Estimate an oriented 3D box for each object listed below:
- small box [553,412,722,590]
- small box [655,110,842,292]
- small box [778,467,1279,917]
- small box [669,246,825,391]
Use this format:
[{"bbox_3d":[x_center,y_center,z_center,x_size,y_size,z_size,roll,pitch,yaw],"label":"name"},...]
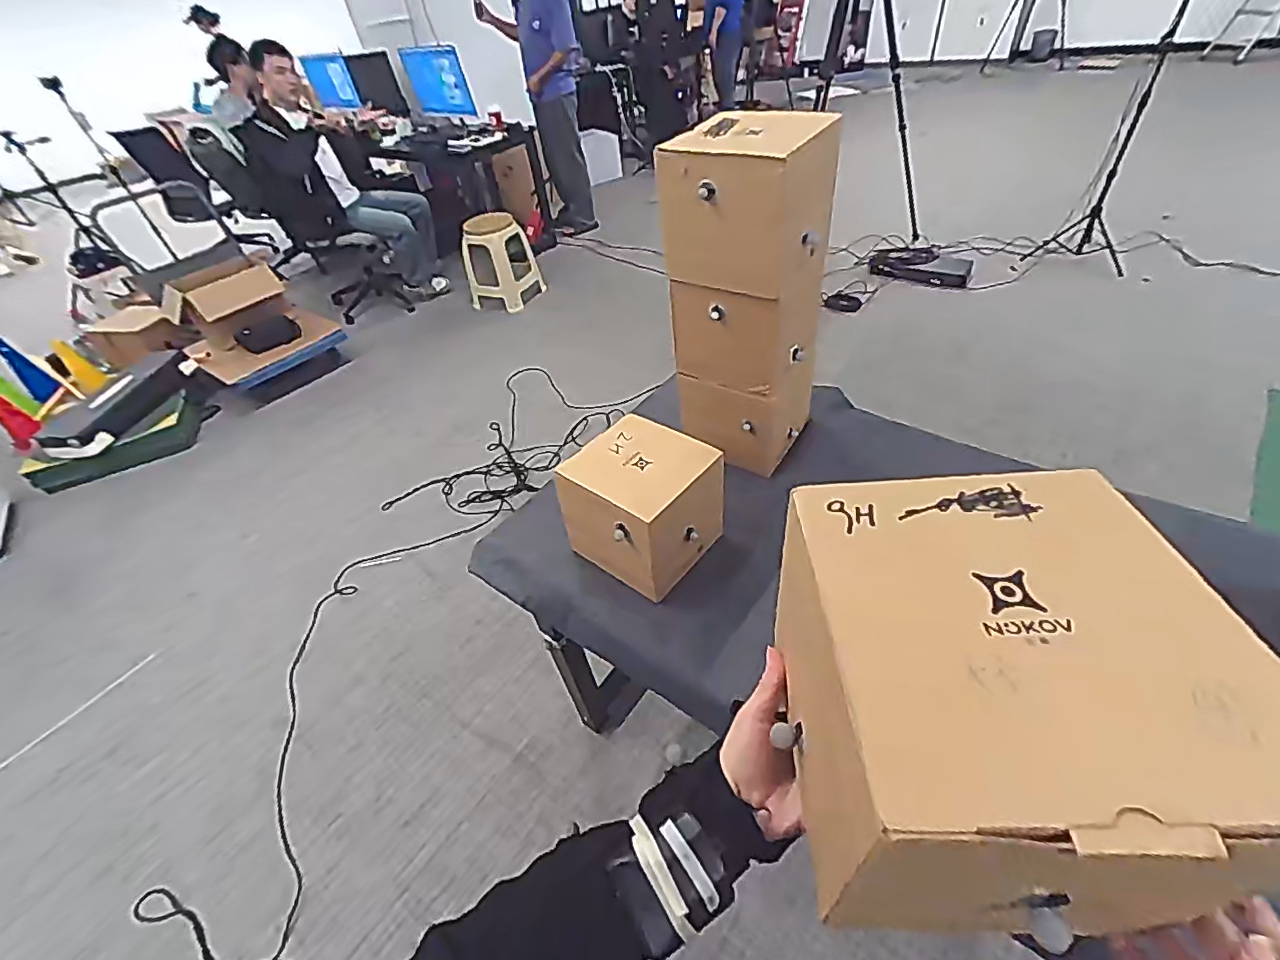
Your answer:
[{"bbox_3d":[0.004,0.033,0.791,0.179,0.176,0.168,27,51,31],"label":"small box"},{"bbox_3d":[0.141,-0.369,0.717,0.179,0.176,0.168,24,55,28],"label":"small box"},{"bbox_3d":[0.173,0.116,0.294,0.168,0.176,0.179,-3,43,5],"label":"small box"},{"bbox_3d":[0.164,-0.261,0.838,0.179,0.176,0.168,22,54,27],"label":"small box"}]
